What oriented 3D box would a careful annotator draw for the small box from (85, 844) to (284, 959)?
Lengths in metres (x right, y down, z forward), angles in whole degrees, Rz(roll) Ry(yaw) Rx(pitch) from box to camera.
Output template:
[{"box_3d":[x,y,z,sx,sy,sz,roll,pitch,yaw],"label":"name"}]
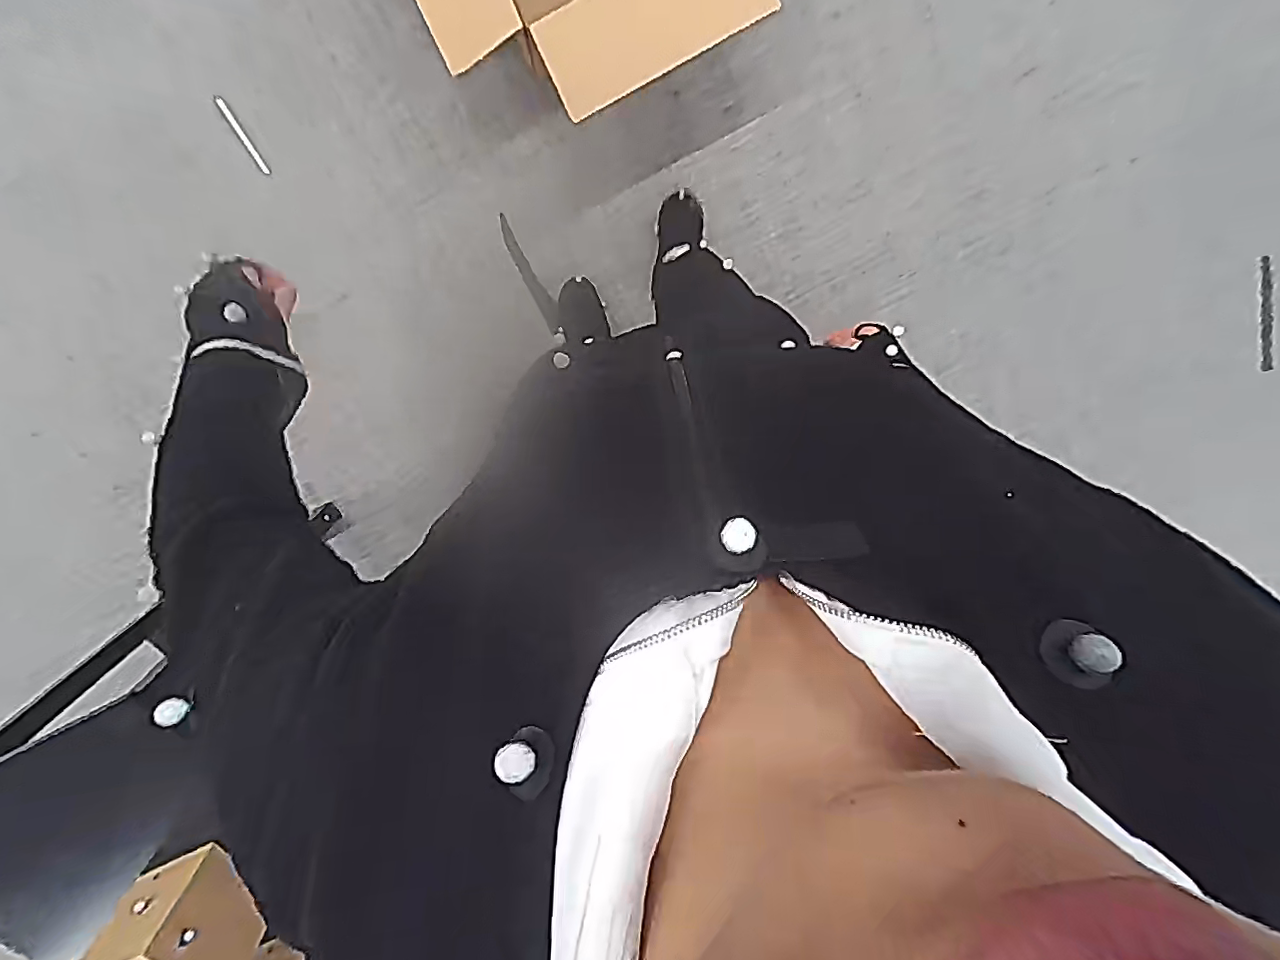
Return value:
[{"box_3d":[-0.762,0.755,0.913,0.168,0.176,0.179,-27,113,7],"label":"small box"}]
